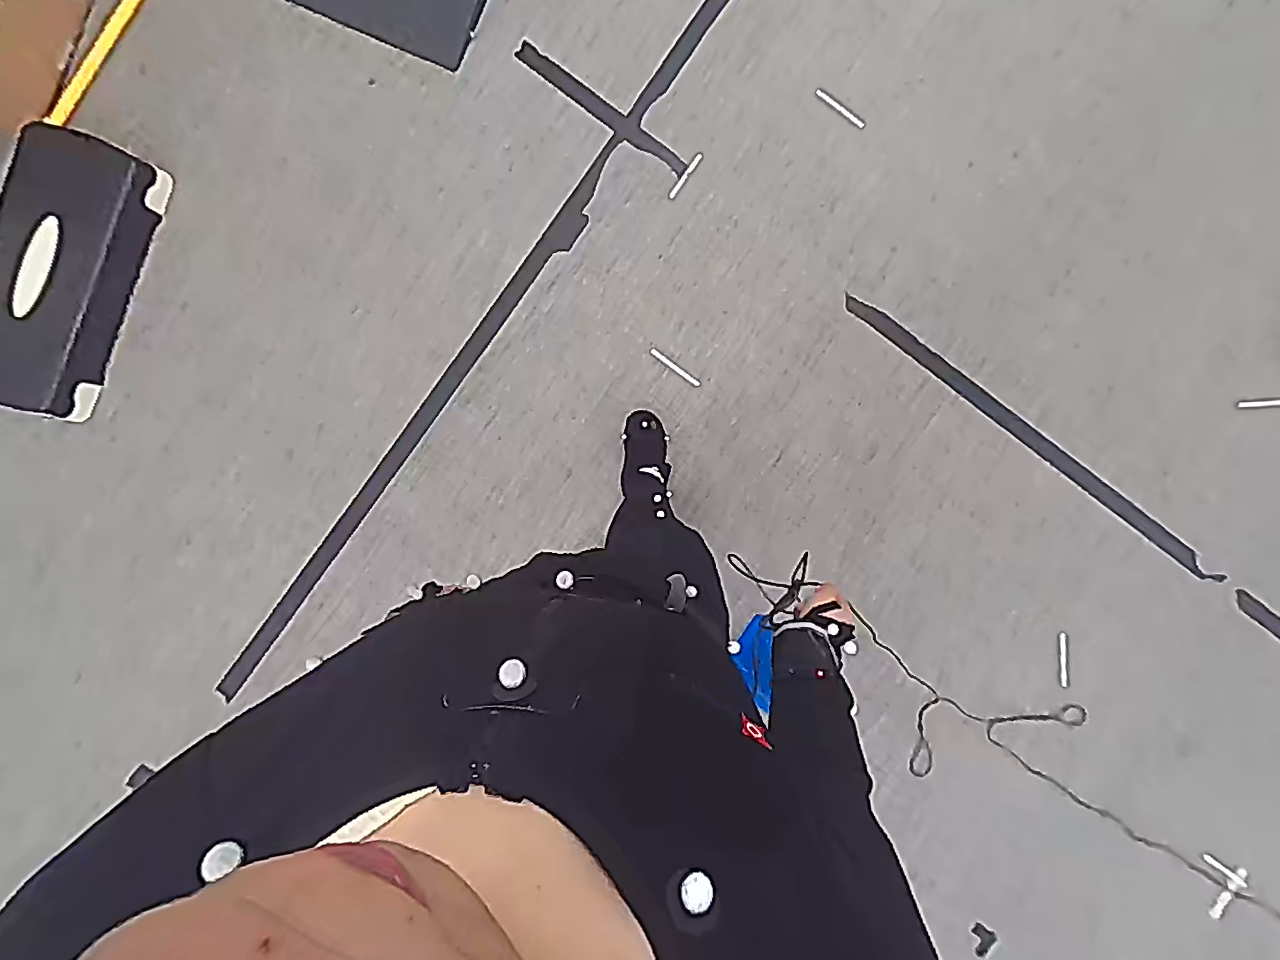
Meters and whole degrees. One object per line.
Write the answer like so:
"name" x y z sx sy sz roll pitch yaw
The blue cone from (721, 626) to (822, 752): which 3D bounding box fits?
"blue cone" 0.327 0.483 1.200 0.193 0.380 0.192 37 90 -1
